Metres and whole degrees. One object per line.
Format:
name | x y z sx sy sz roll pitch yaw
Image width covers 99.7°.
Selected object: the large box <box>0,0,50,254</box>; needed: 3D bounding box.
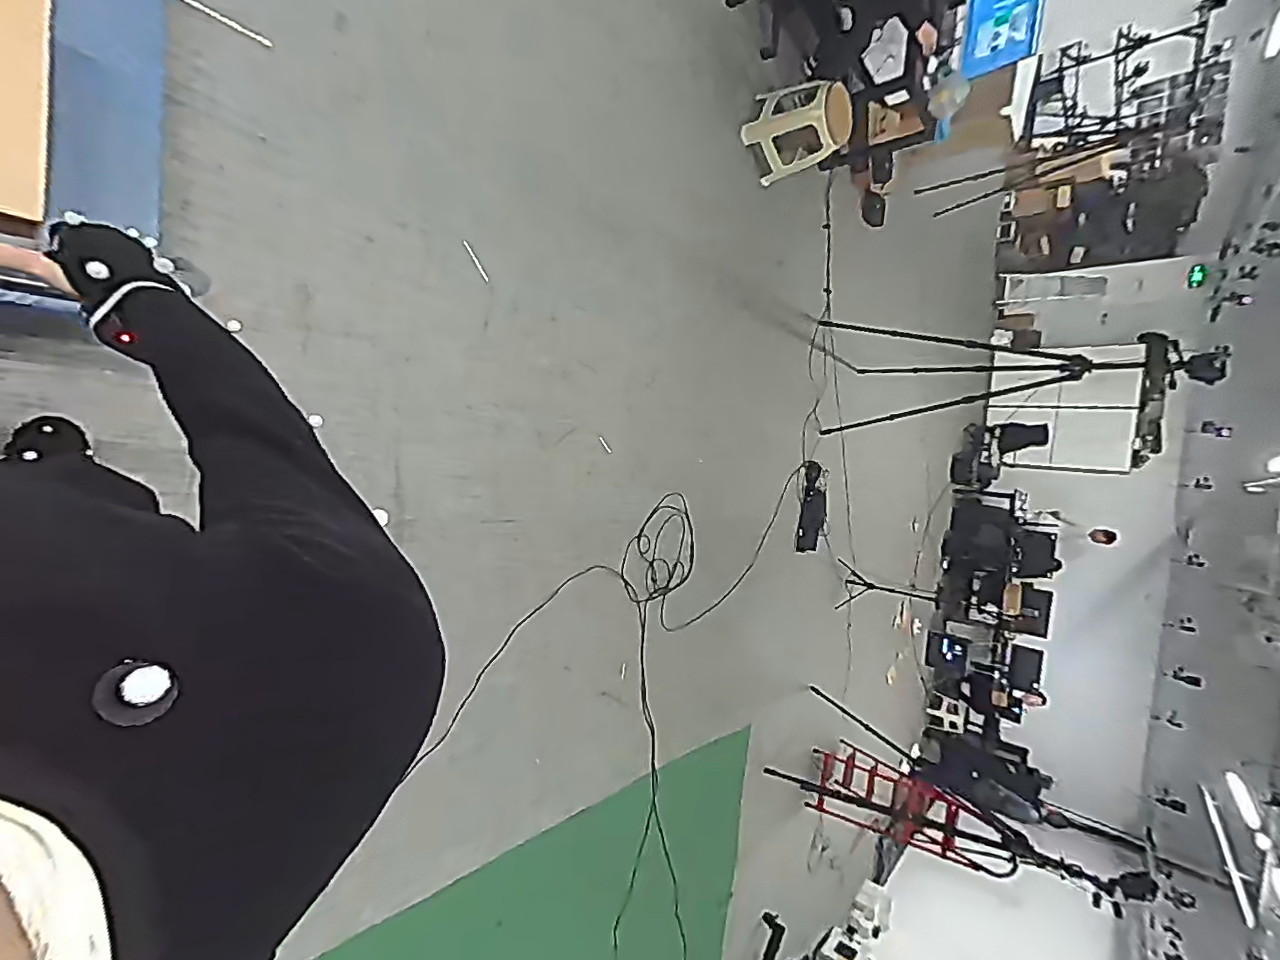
large box | -1.060 -0.587 0.754 0.320 0.320 0.408 0 94 -49
